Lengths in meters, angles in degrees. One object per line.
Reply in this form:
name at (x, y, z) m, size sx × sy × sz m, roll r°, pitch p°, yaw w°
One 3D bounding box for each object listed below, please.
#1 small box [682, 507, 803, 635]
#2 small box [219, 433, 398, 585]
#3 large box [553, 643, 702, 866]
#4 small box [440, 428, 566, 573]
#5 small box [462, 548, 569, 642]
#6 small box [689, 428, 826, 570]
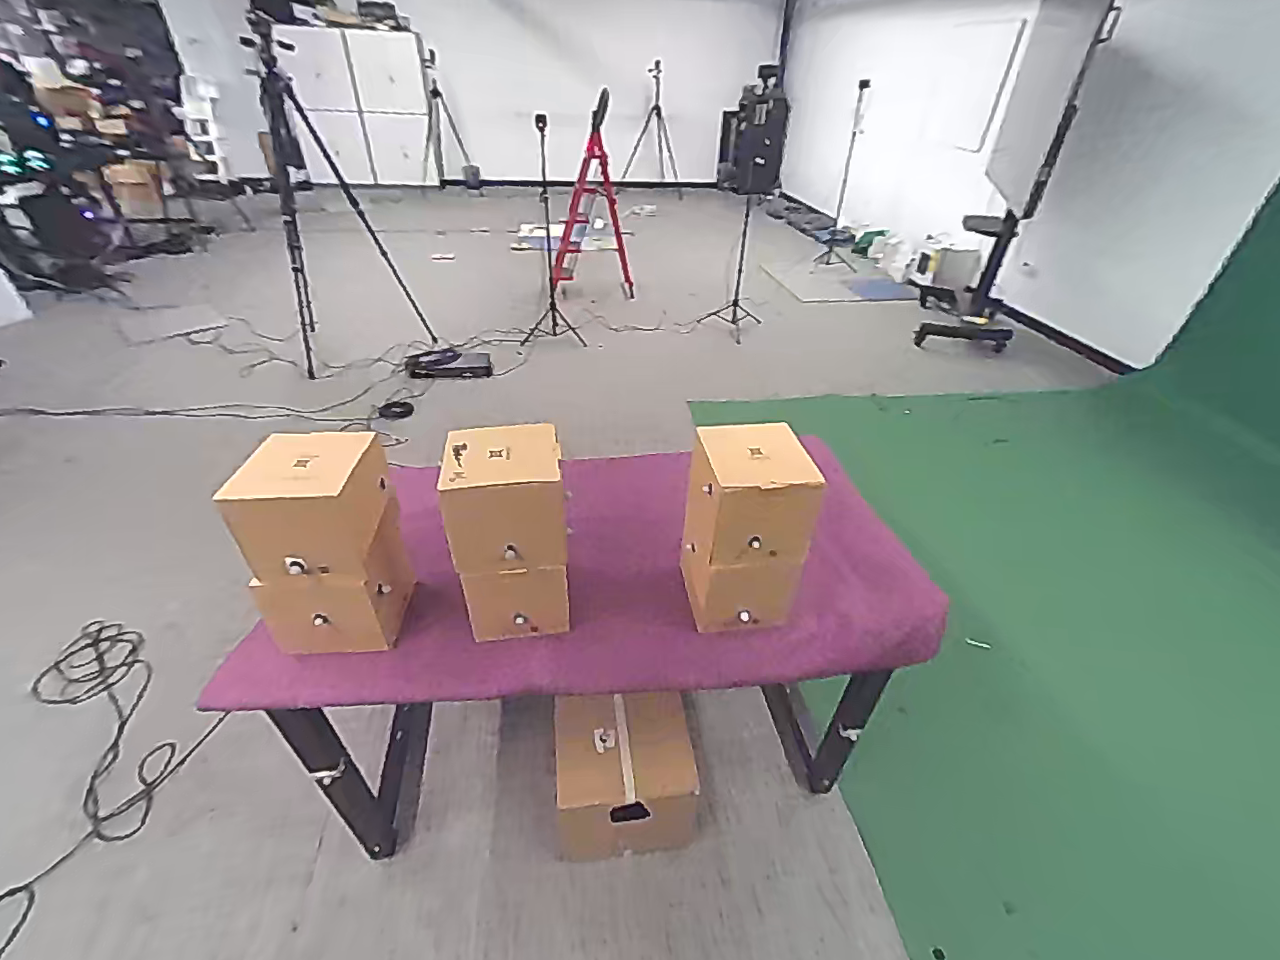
small box at (0.177, 0.161, 1.003) m, size 0.168 × 0.176 × 0.179 m, roll -3°, pitch 37°, yaw -7°
small box at (-0.494, 0.042, 0.843) m, size 0.168 × 0.176 × 0.179 m, roll -2°, pitch 36°, yaw -5°
large box at (-0.054, 0.689, 1.389) m, size 0.320 × 0.320 × 0.408 m, roll -4°, pitch 38°, yaw -8°
small box at (-0.212, 0.032, 0.875) m, size 0.179 × 0.176 × 0.168 m, roll -4°, pitch 35°, yaw -10°
small box at (-0.217, 0.163, 0.972) m, size 0.168 × 0.176 × 0.179 m, roll -4°, pitch 36°, yaw -9°
small box at (0.184, 0.028, 0.910) m, size 0.168 × 0.176 × 0.179 m, roll -3°, pitch 37°, yaw -8°
